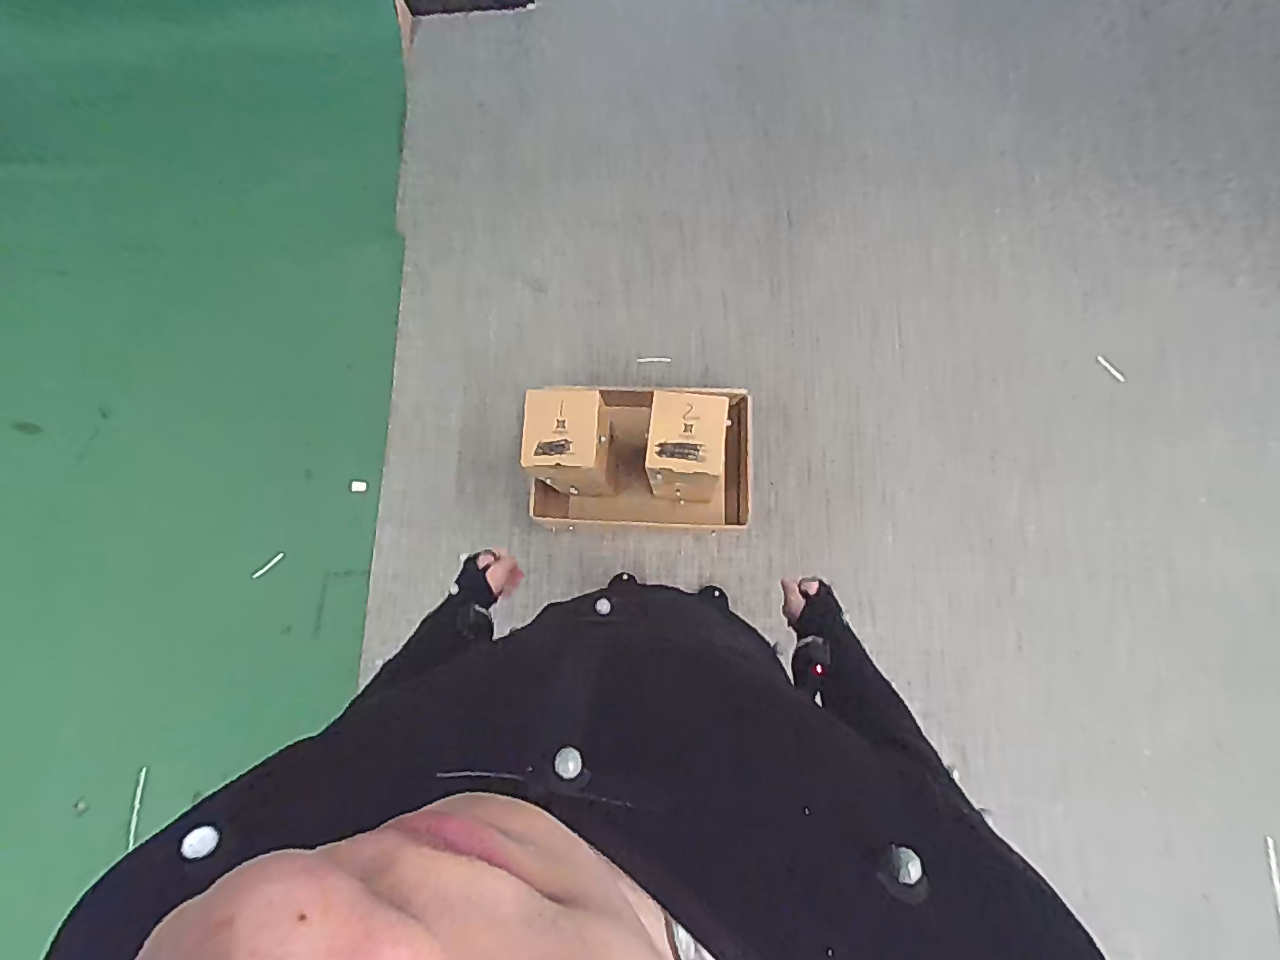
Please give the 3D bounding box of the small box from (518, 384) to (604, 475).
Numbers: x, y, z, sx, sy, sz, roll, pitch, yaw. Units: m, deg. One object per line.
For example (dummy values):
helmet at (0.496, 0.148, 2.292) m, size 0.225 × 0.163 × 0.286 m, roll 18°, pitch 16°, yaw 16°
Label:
small box at (-0.175, -0.110, 1.250) m, size 0.168 × 0.176 × 0.179 m, roll 1°, pitch 80°, yaw 3°

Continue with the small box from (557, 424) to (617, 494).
small box at (-0.160, -0.063, 1.573) m, size 0.168 × 0.176 × 0.179 m, roll 3°, pitch 80°, yaw 4°

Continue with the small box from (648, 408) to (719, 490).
small box at (0.110, -0.075, 1.398) m, size 0.168 × 0.176 × 0.179 m, roll 3°, pitch 82°, yaw 4°

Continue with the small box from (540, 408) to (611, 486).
small box at (-0.167, -0.087, 1.413) m, size 0.168 × 0.176 × 0.179 m, roll 4°, pitch 81°, yaw 2°
